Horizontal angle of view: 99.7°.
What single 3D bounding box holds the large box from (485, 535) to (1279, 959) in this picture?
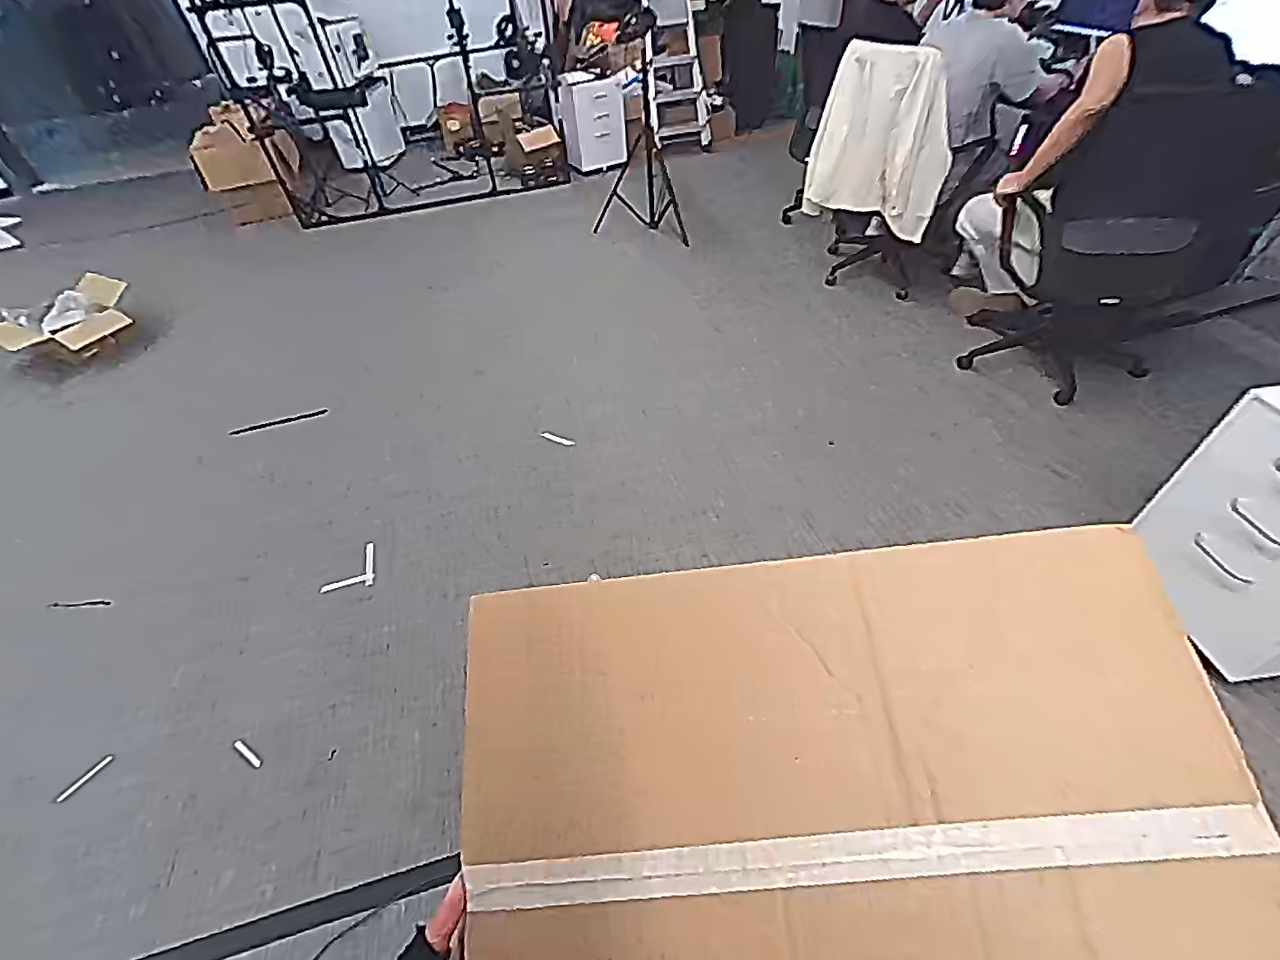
[{"bbox_3d":[0.126,0.257,0.423,0.408,0.320,0.320,-7,68,4],"label":"large box"}]
